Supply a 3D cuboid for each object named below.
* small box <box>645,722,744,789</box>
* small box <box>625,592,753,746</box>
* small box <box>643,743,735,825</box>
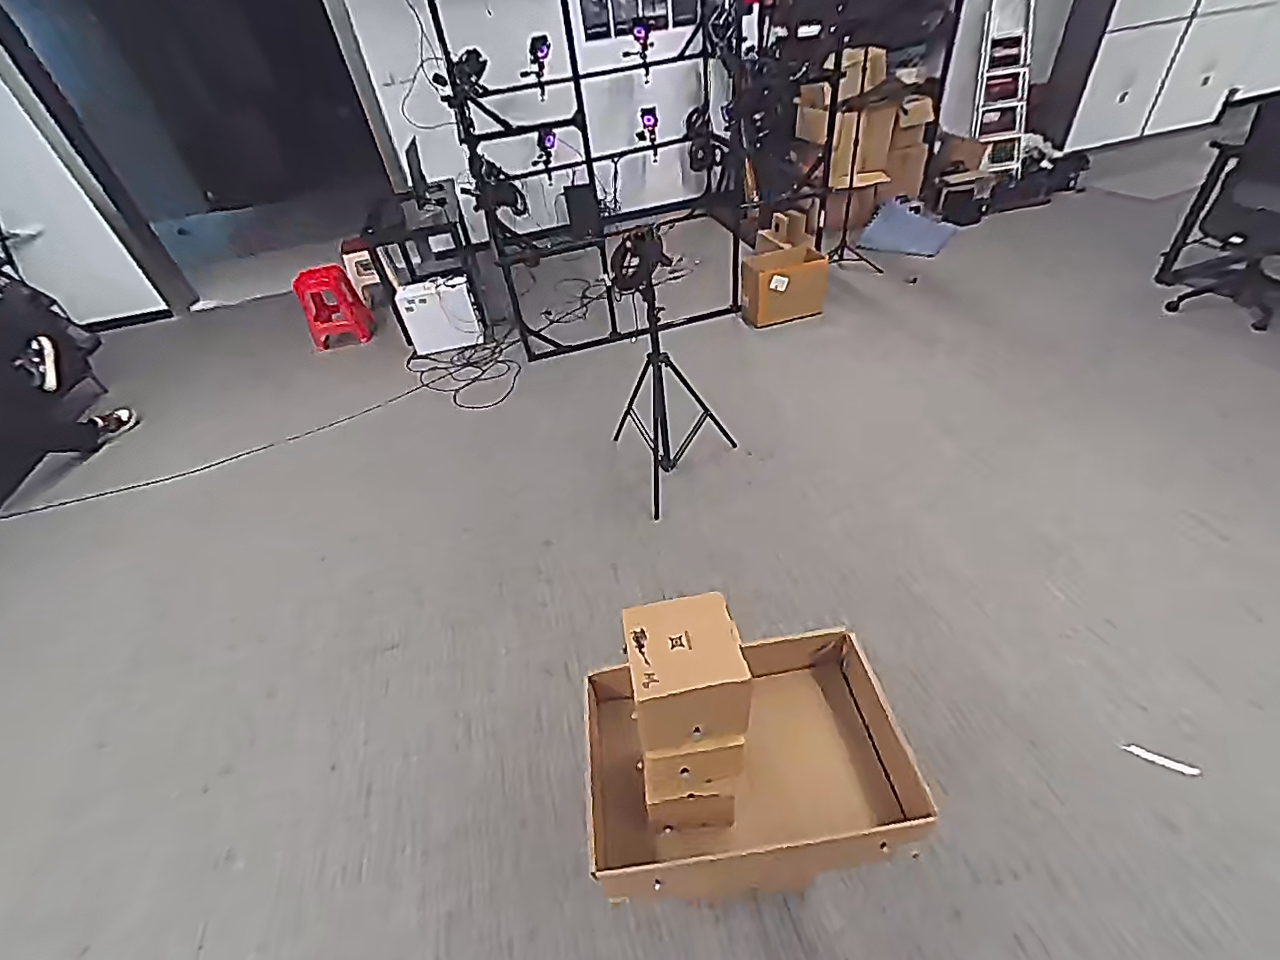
[{"bbox_3d":[0.090,0.444,0.993,0.168,0.176,0.179,-9,40,-2],"label":"small box"},{"bbox_3d":[0.074,0.313,0.895,0.179,0.176,0.168,-9,40,-3],"label":"small box"},{"bbox_3d":[0.097,0.574,1.090,0.168,0.176,0.179,-6,40,1],"label":"small box"}]
